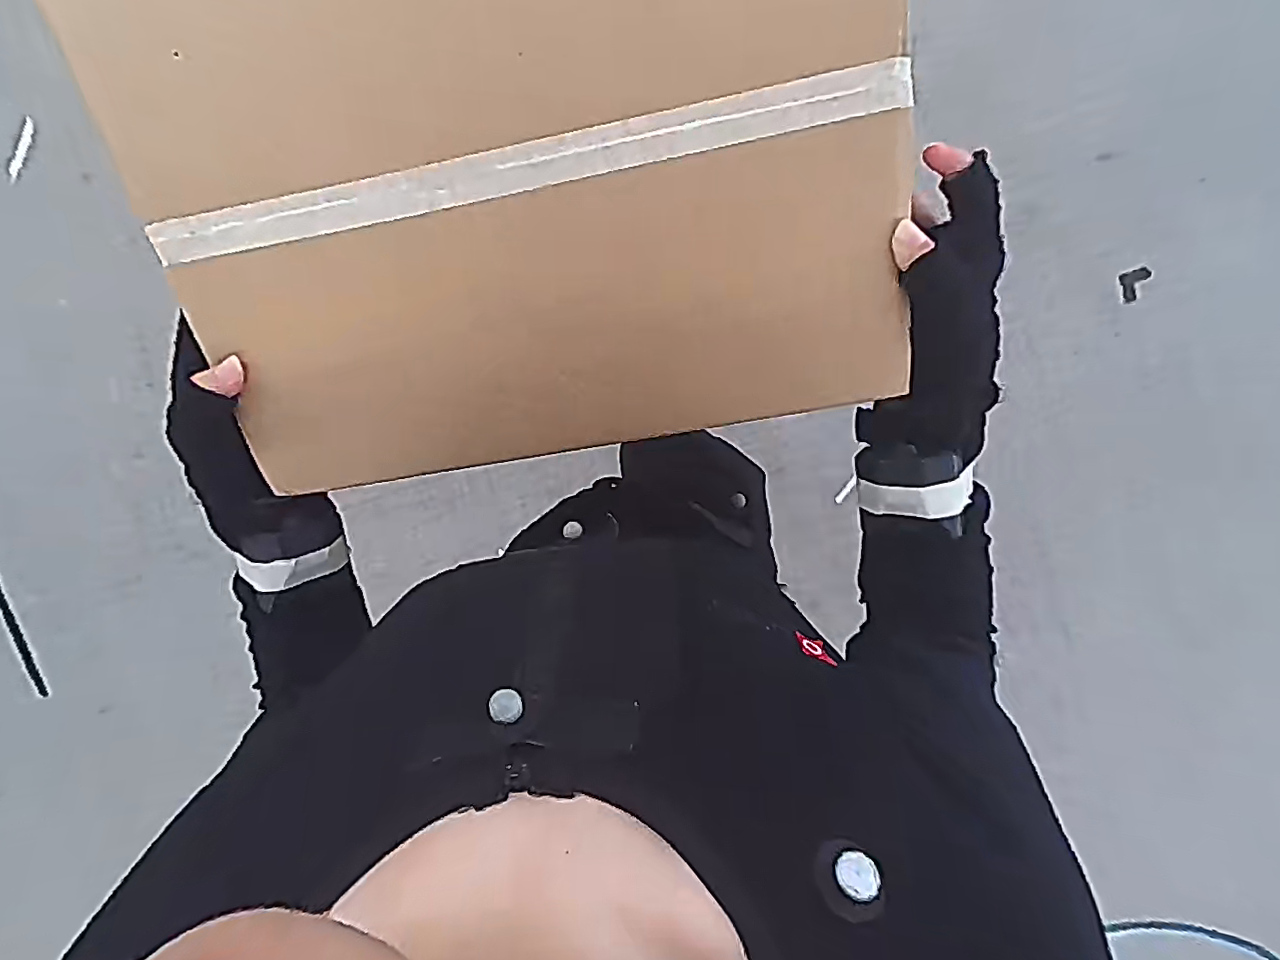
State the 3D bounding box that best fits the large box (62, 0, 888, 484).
[{"bbox_3d":[-0.065,-0.226,0.429,0.408,0.320,0.320,-9,112,5],"label":"large box"}]
